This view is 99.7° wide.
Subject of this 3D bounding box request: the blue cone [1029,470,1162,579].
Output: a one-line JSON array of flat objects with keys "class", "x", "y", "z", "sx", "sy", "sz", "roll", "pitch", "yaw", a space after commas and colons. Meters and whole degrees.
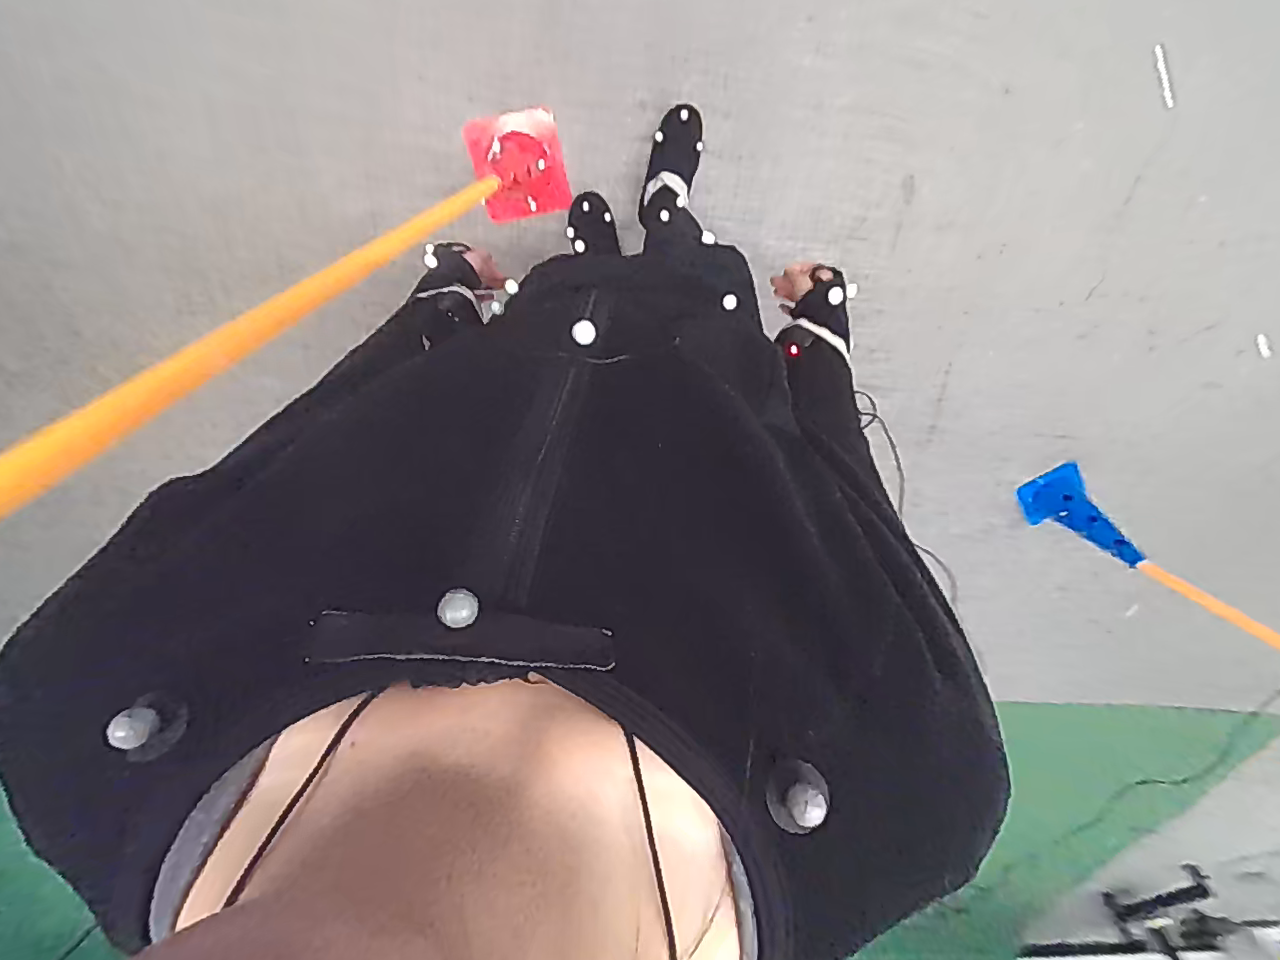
[{"class": "blue cone", "x": 1.390, "y": 0.153, "z": 1.628, "sx": 0.193, "sy": 0.380, "sz": 0.192, "roll": -35, "pitch": 117, "yaw": 17}]
